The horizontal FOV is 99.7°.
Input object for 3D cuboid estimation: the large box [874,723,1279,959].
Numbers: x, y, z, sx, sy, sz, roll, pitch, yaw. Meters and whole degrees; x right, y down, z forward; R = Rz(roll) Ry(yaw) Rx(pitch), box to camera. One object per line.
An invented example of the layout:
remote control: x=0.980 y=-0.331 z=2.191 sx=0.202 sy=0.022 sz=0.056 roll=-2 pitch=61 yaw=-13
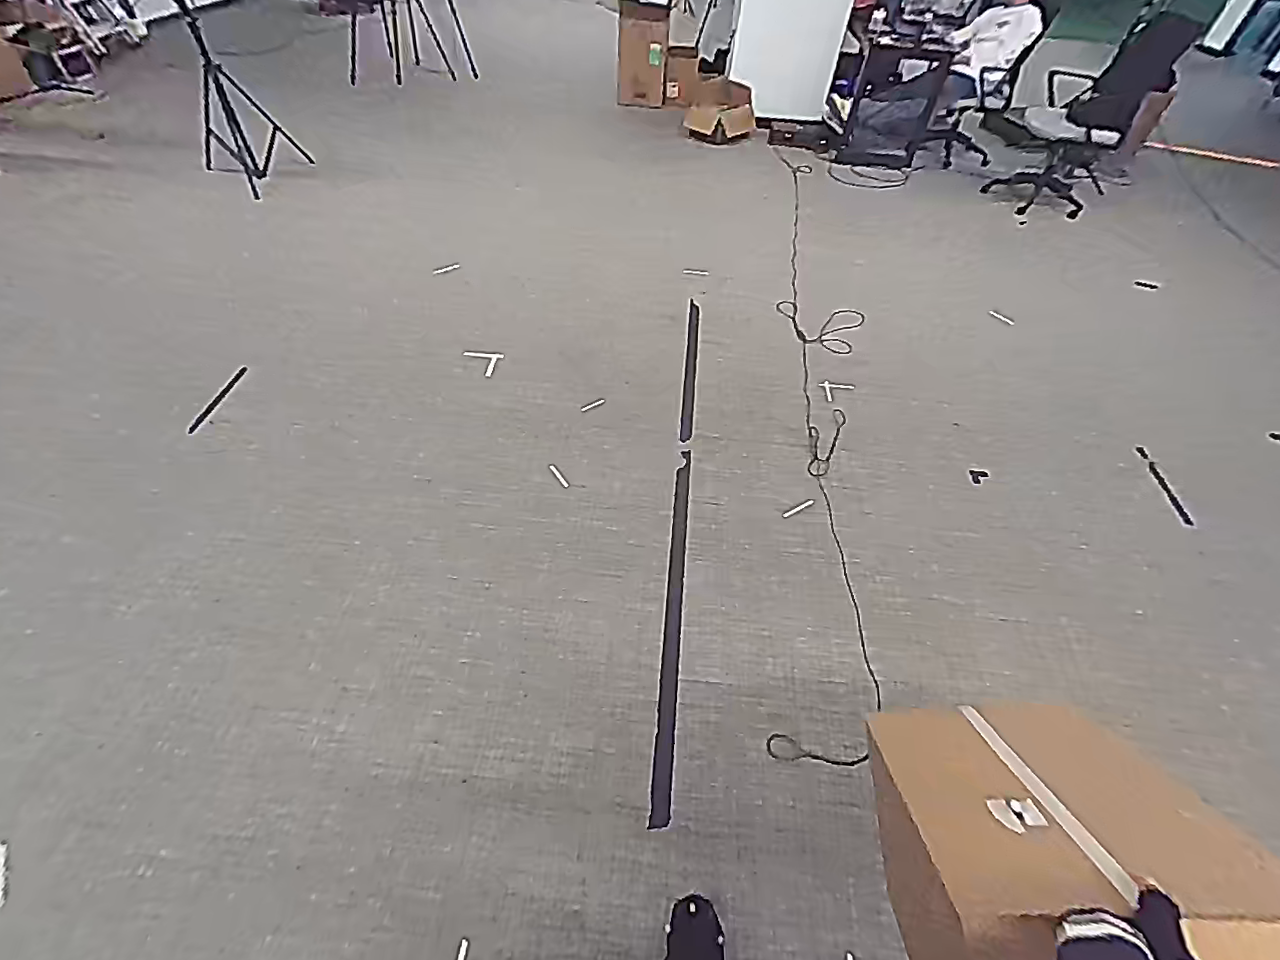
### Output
large box: x=0.514 y=0.555 z=0.676 sx=0.320 sy=0.408 sz=0.320 roll=-6 pitch=92 yaw=11
